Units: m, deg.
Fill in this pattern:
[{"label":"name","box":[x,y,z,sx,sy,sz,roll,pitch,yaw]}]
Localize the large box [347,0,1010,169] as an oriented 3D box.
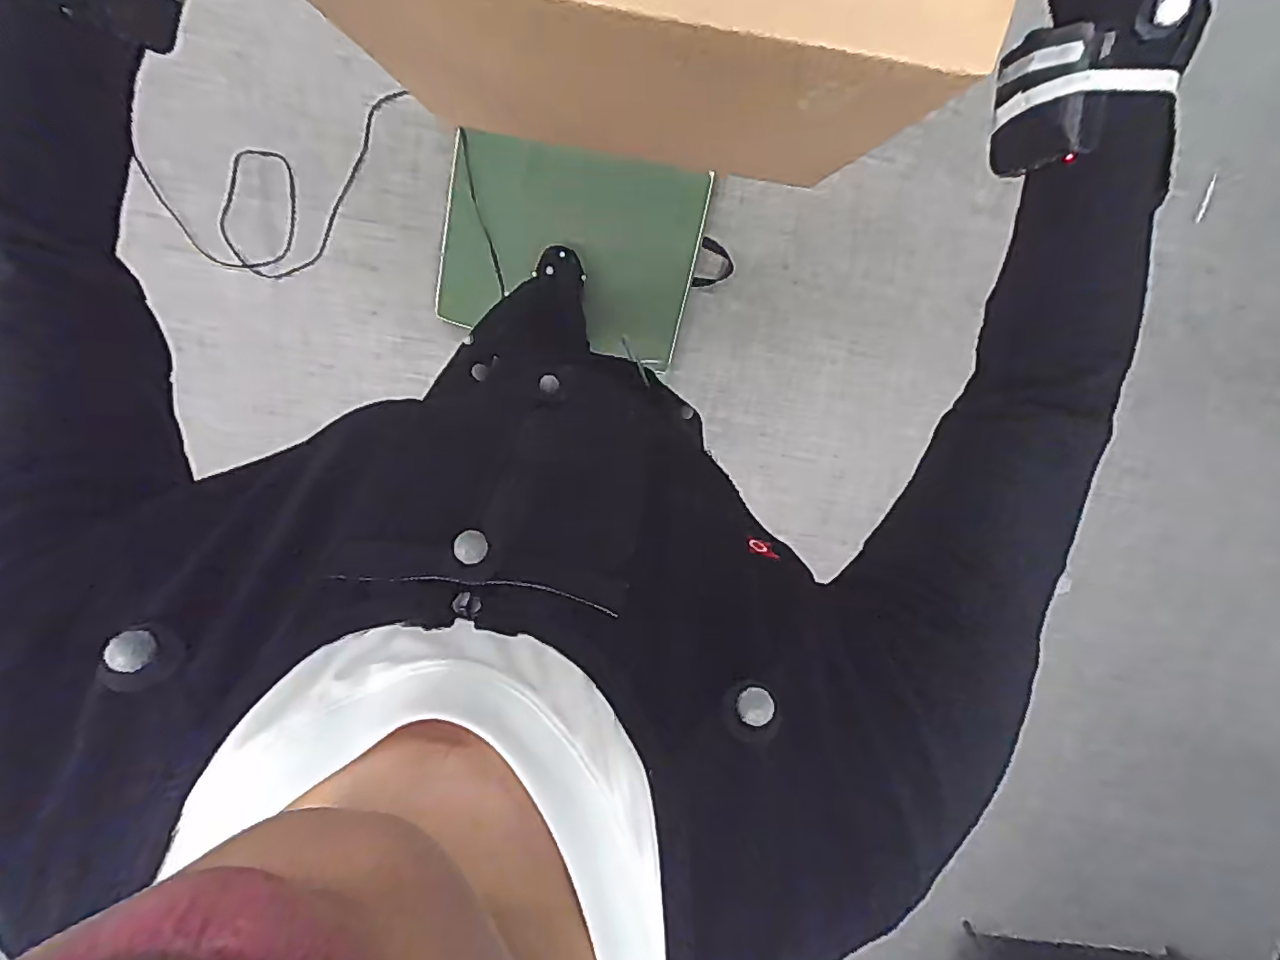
[{"label":"large box","box":[0.017,-0.452,0.384,0.408,0.320,0.320,7,109,-4]}]
